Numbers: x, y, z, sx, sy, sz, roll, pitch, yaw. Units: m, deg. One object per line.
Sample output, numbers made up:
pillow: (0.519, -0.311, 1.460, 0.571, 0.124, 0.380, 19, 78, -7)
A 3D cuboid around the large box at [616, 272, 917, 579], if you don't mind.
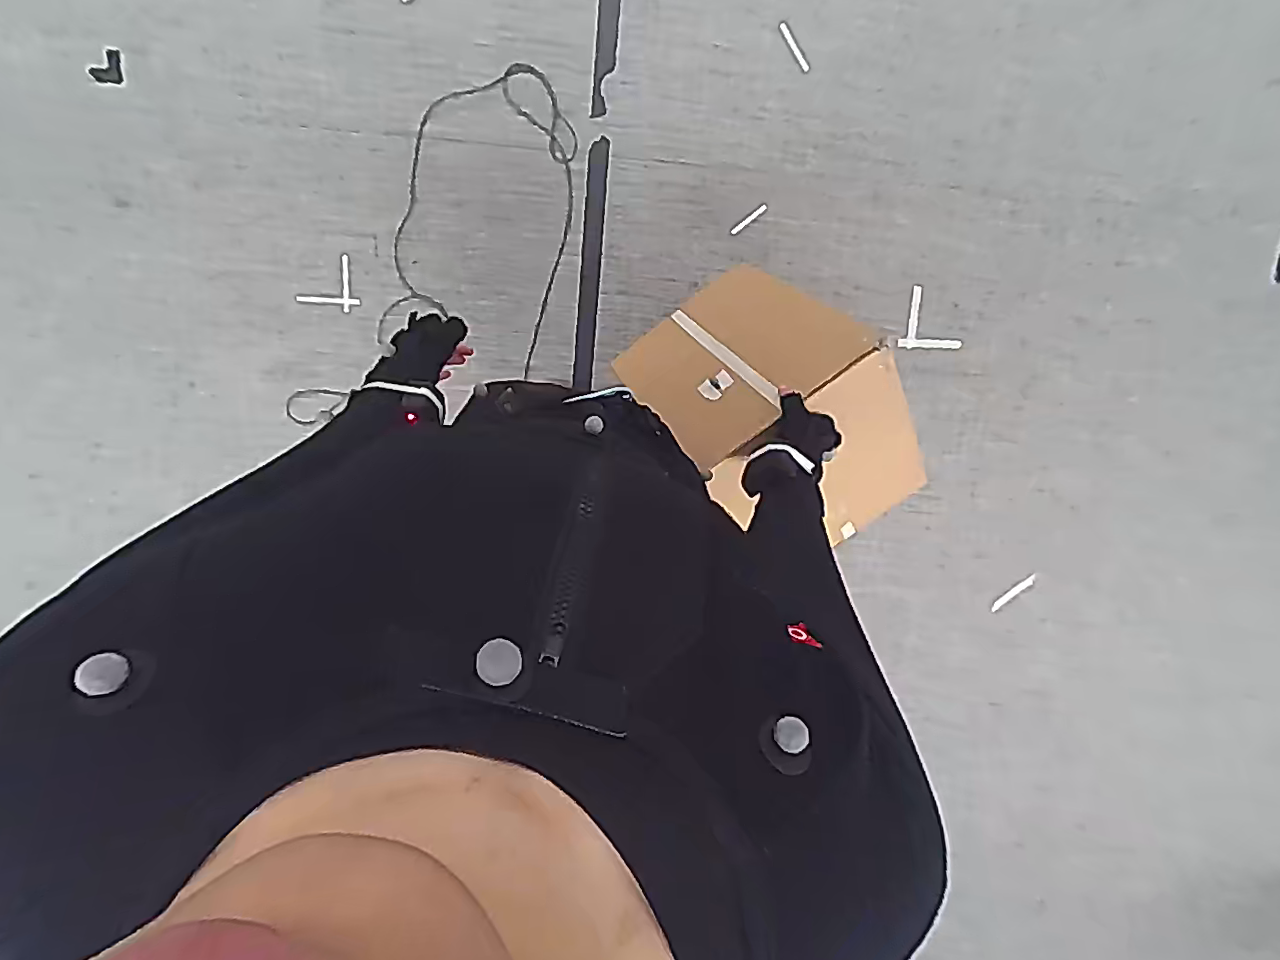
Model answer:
large box: (0.211, -0.107, 0.971, 0.320, 0.408, 0.320, -36, 130, 5)
